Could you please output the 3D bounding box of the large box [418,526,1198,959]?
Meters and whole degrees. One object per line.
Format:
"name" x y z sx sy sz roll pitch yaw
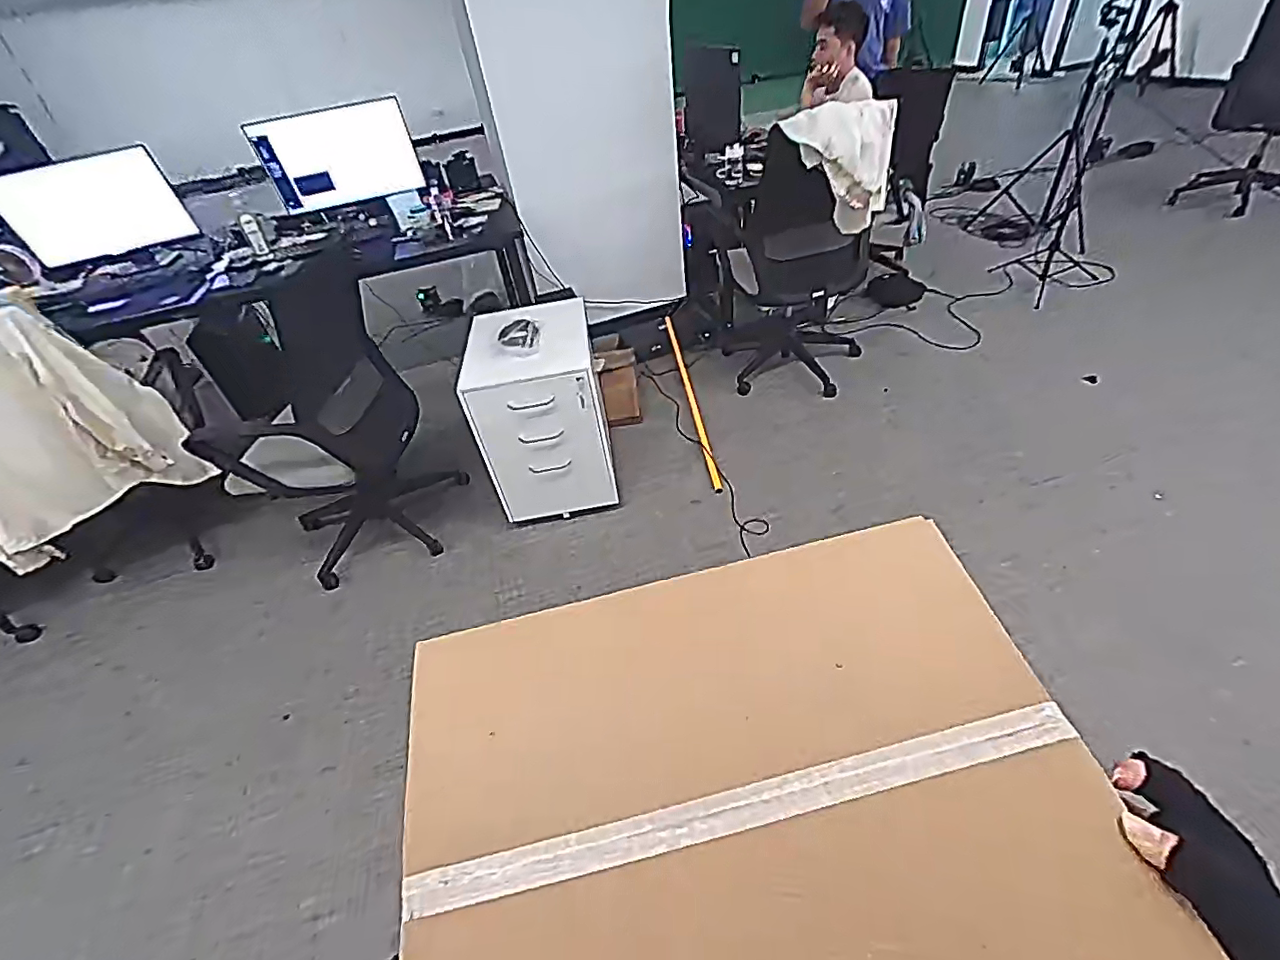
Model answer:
"large box" 0.080 0.288 0.449 0.408 0.320 0.320 -14 51 -2
